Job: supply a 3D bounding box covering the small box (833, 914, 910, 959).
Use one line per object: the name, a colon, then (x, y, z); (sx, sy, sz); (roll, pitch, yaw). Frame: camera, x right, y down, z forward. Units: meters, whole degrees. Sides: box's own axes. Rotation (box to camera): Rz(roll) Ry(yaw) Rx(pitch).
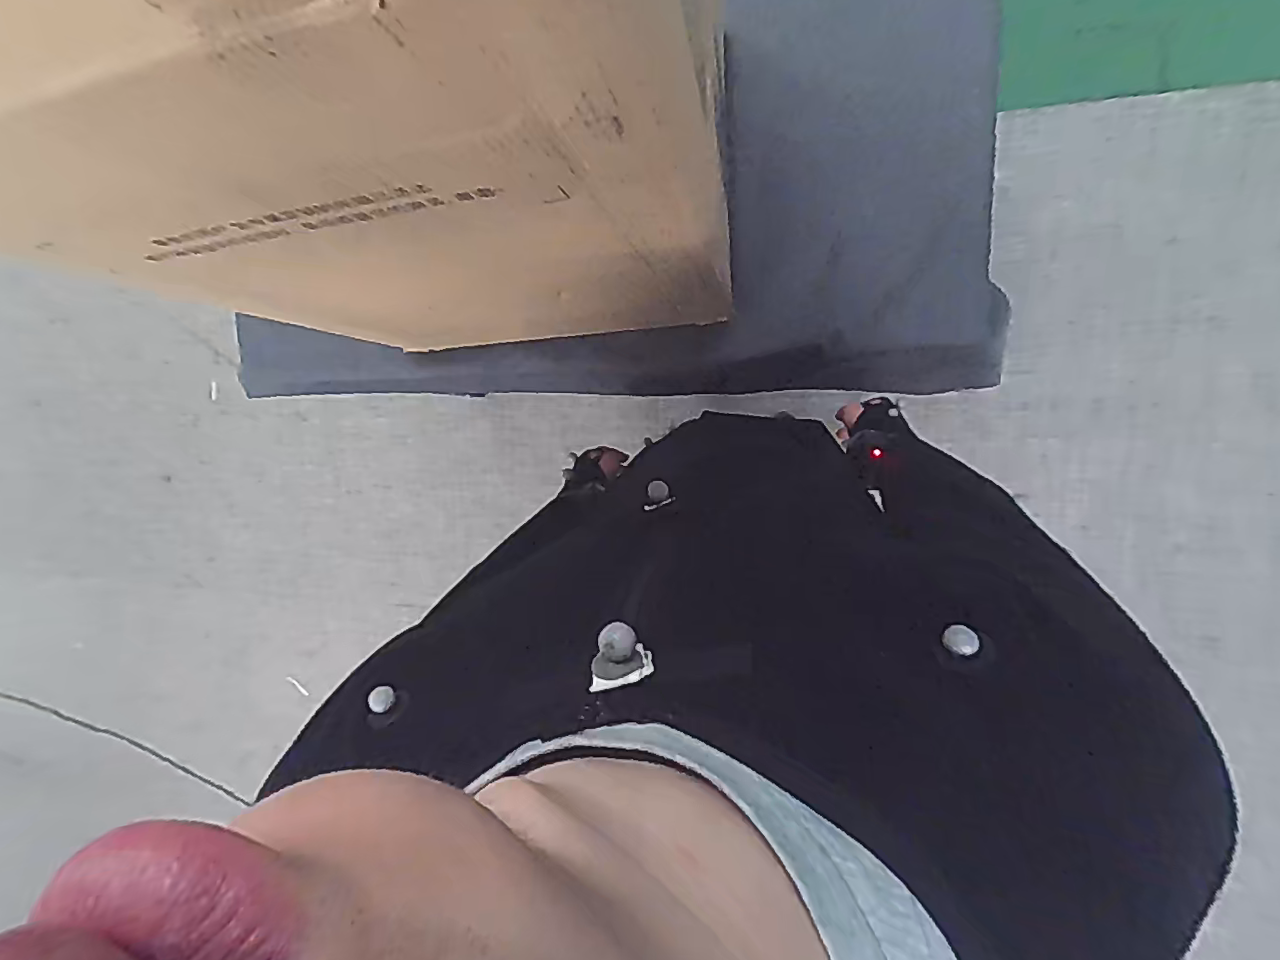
small box: (0.648, 1.368, 1.502); (0.179, 0.176, 0.168); (10, 97, 14)
